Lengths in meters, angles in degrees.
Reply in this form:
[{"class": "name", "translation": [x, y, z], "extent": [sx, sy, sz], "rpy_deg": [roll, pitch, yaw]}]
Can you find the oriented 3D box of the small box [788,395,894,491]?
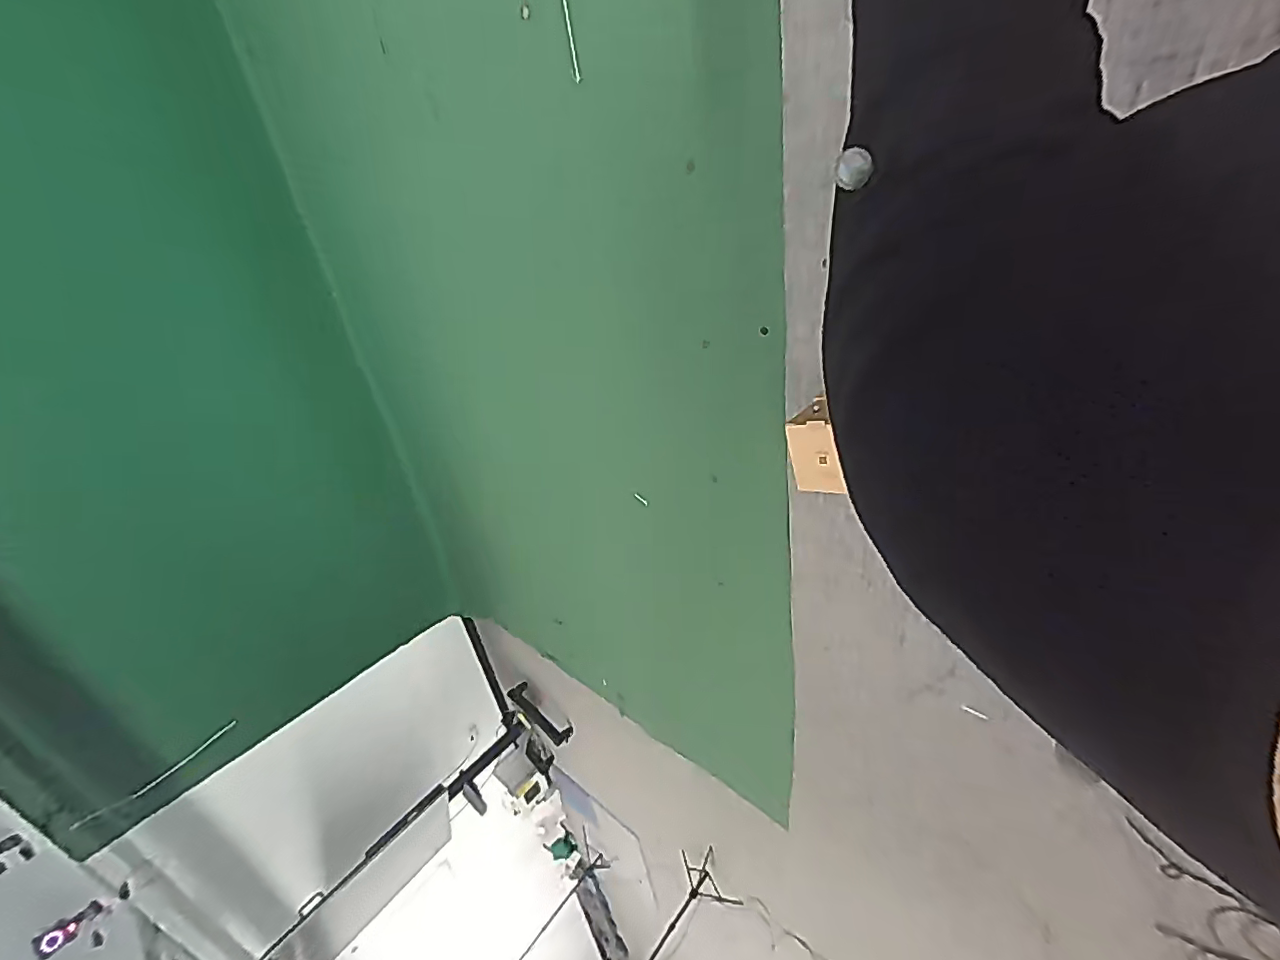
[{"class": "small box", "translation": [0.476, -0.093, 1.274], "extent": [0.168, 0.176, 0.179], "rpy_deg": [4, 120, 48]}]
